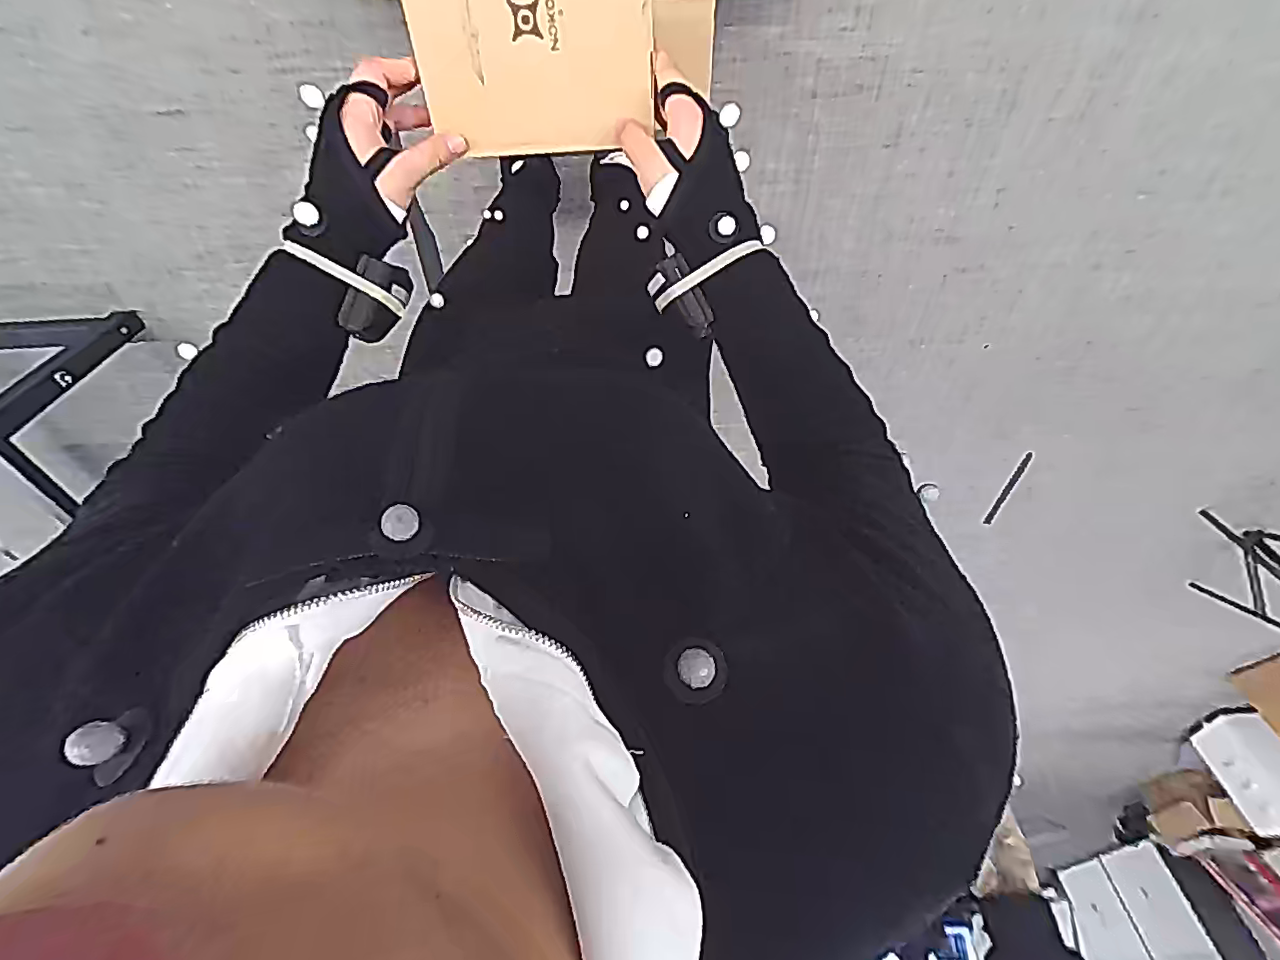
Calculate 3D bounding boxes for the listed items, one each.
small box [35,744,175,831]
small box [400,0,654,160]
[{"bbox_3d":[-1.429,0.832,1.464,0.168,0.176,0.179,-3,135,1],"label":"small box"},{"bbox_3d":[-0.084,-0.375,0.448,0.179,0.176,0.168,-4,127,0],"label":"small box"}]
